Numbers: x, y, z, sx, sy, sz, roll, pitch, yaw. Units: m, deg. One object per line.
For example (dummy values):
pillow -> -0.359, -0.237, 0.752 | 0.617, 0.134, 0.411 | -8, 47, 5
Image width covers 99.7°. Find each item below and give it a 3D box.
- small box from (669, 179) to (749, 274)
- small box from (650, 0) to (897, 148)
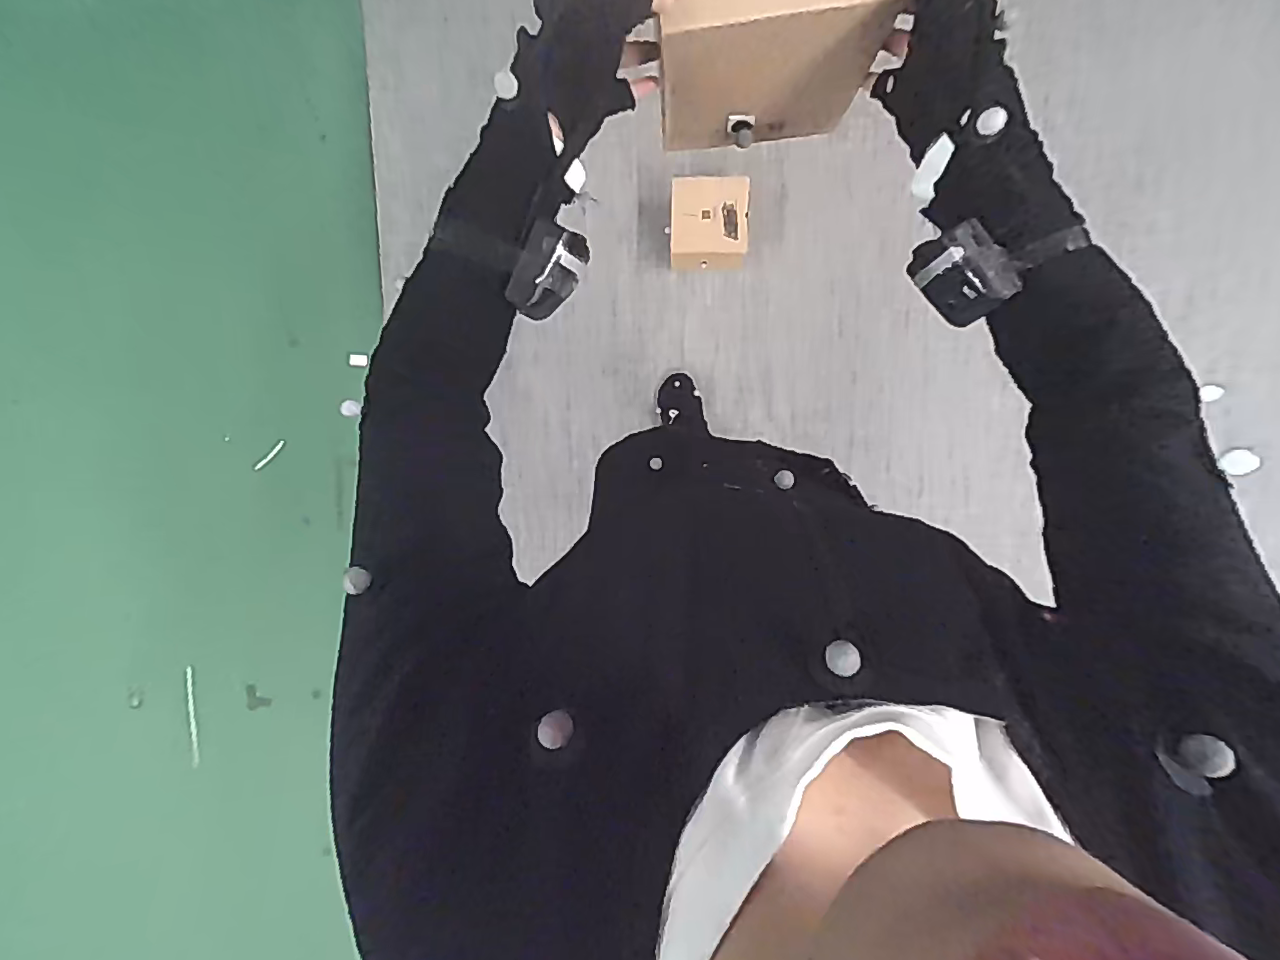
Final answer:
small box -> 0.160, -0.603, 1.302 | 0.179, 0.176, 0.168 | 2, 96, 4
small box -> 0.091, -0.409, 0.437 | 0.168, 0.176, 0.179 | -6, 95, 5
